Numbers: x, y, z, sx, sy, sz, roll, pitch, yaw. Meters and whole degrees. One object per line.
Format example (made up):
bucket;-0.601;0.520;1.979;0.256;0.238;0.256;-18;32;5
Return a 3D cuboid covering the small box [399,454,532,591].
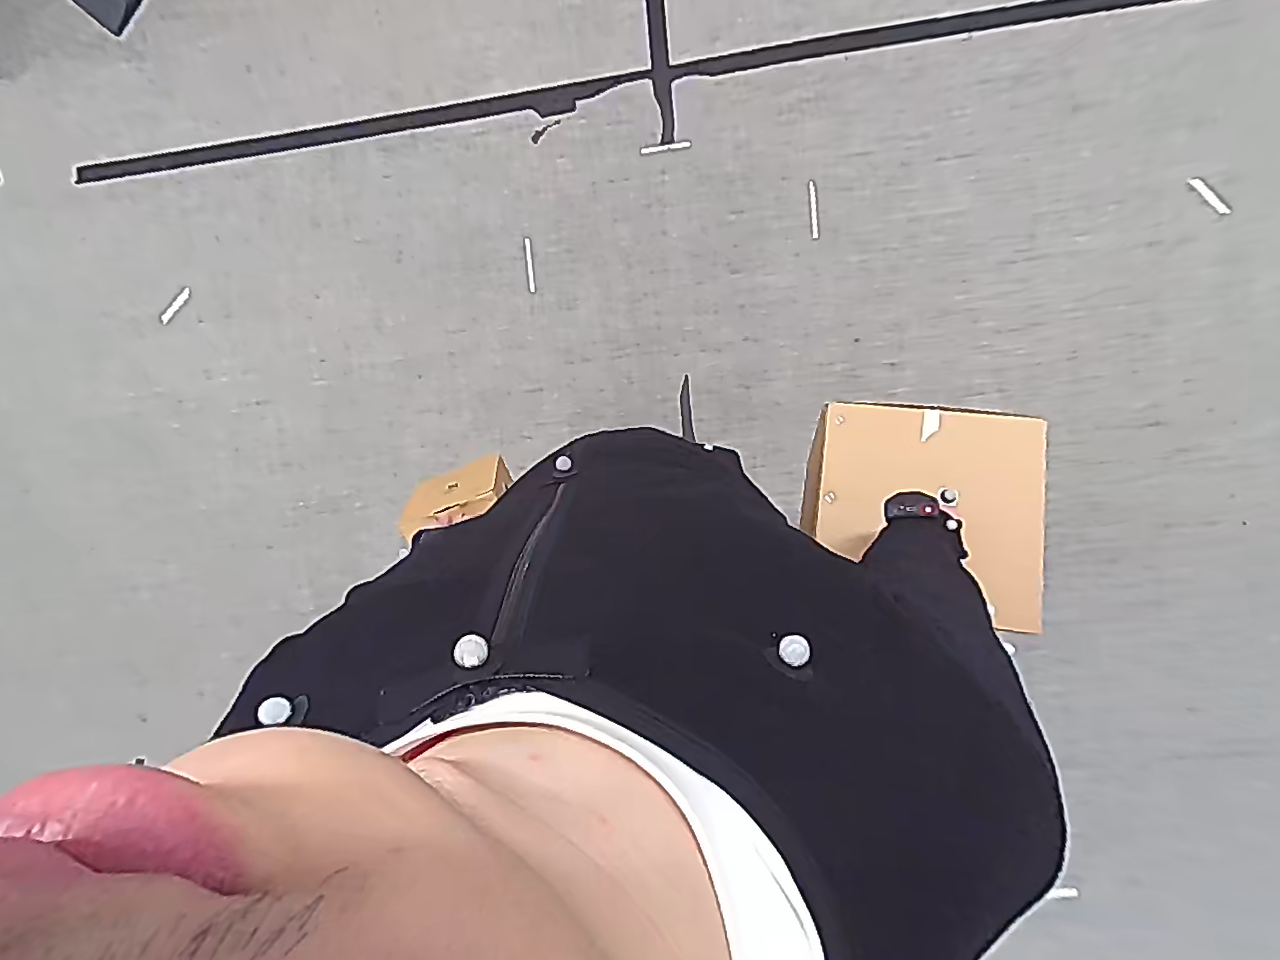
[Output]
small box;-0.306;0.081;0.990;0.168;0.179;0.176;-21;115;-1
